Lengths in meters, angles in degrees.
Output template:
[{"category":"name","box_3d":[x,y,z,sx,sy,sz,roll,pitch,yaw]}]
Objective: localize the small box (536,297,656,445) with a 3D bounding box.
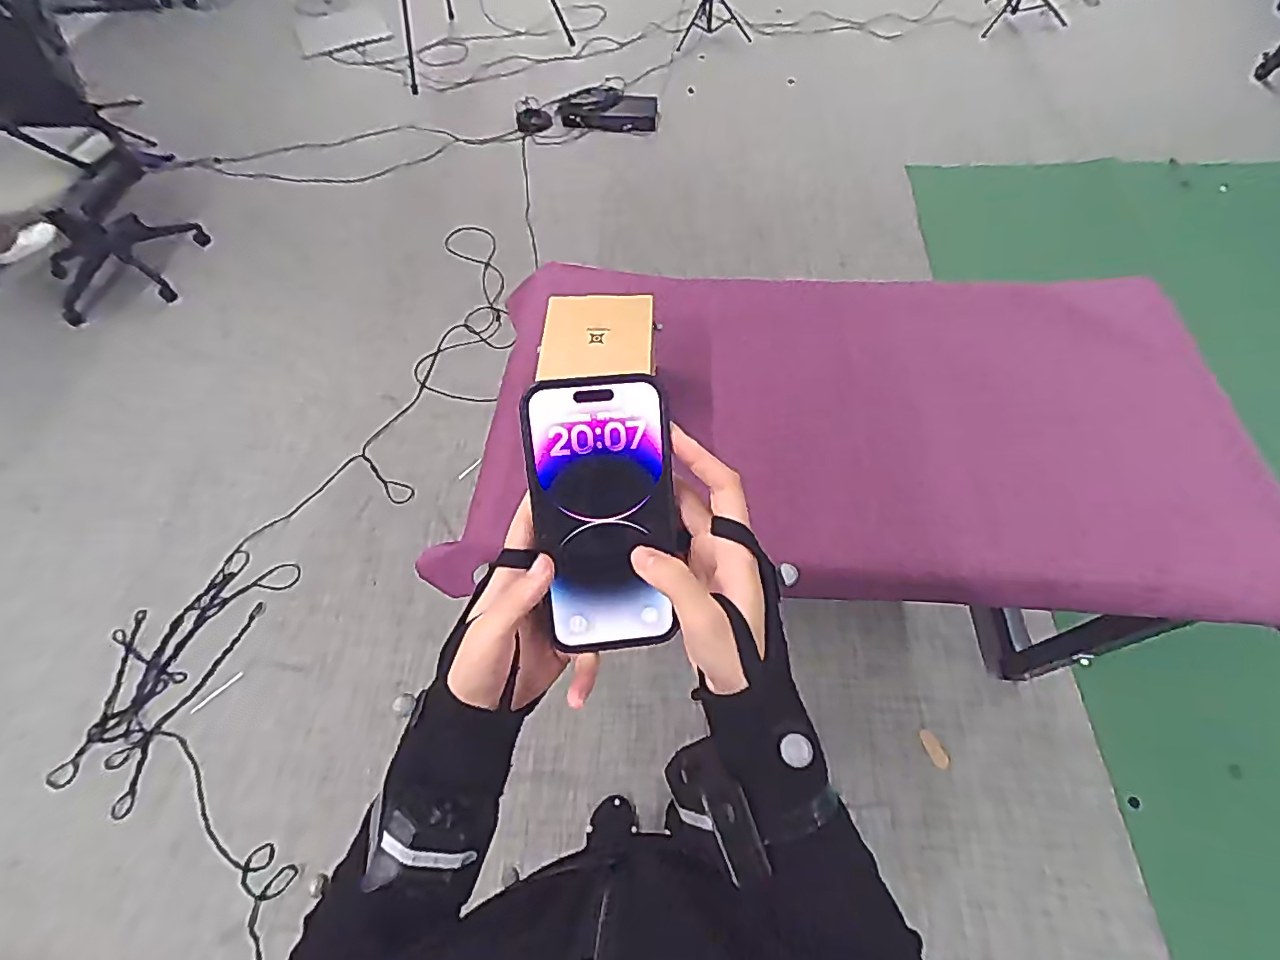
[{"category":"small box","box_3d":[-0.060,-0.169,0.872,0.168,0.176,0.179,0,58,3]}]
